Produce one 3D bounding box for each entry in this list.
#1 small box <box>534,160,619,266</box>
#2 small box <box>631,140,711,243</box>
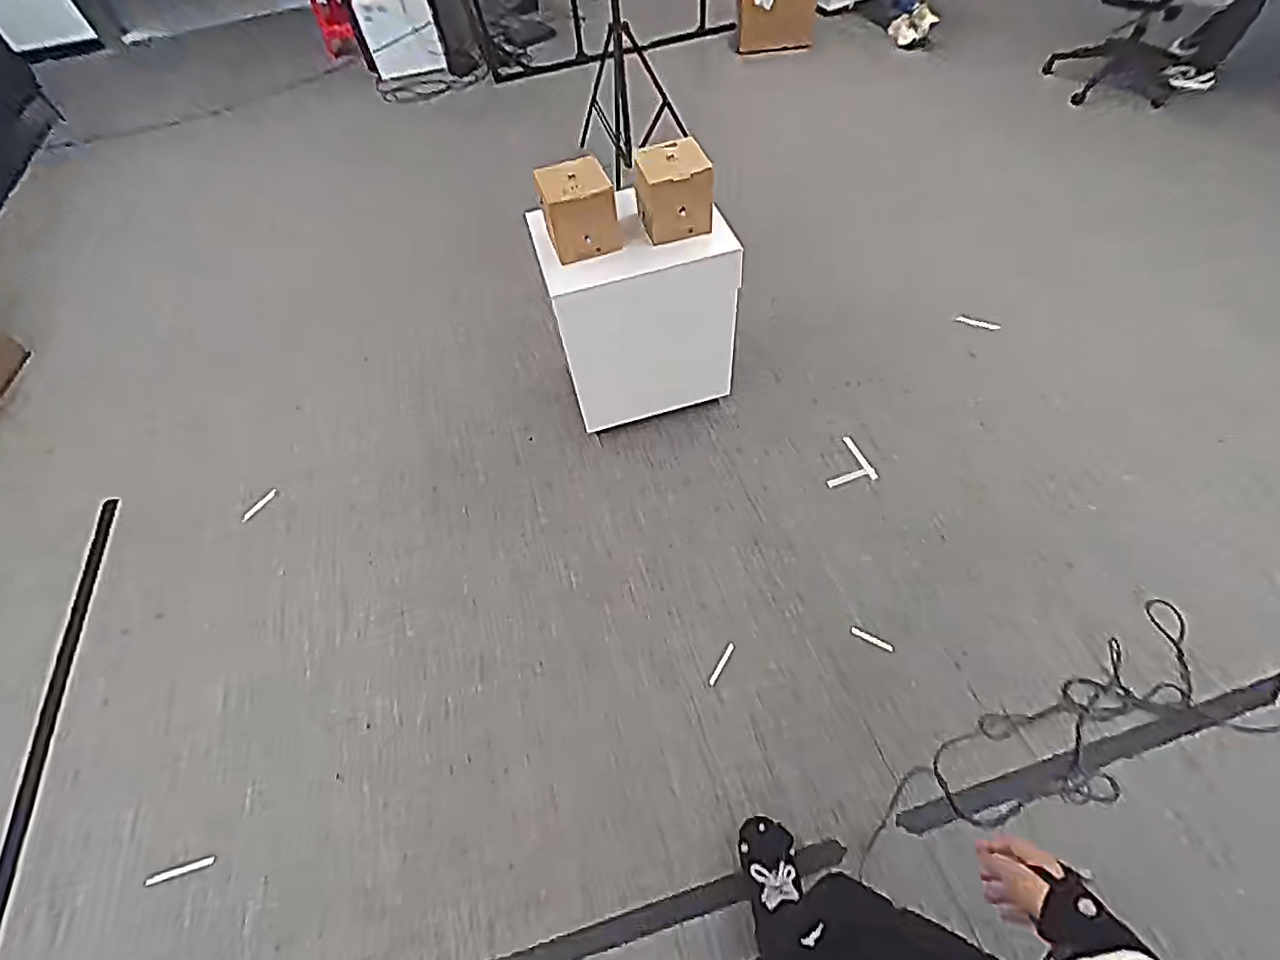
[{"bbox_3d":[-0.161,-0.687,1.397,0.168,0.176,0.179,-18,57,-6],"label":"small box"},{"bbox_3d":[0.083,-0.741,1.409,0.168,0.176,0.179,-15,58,-3],"label":"small box"}]
